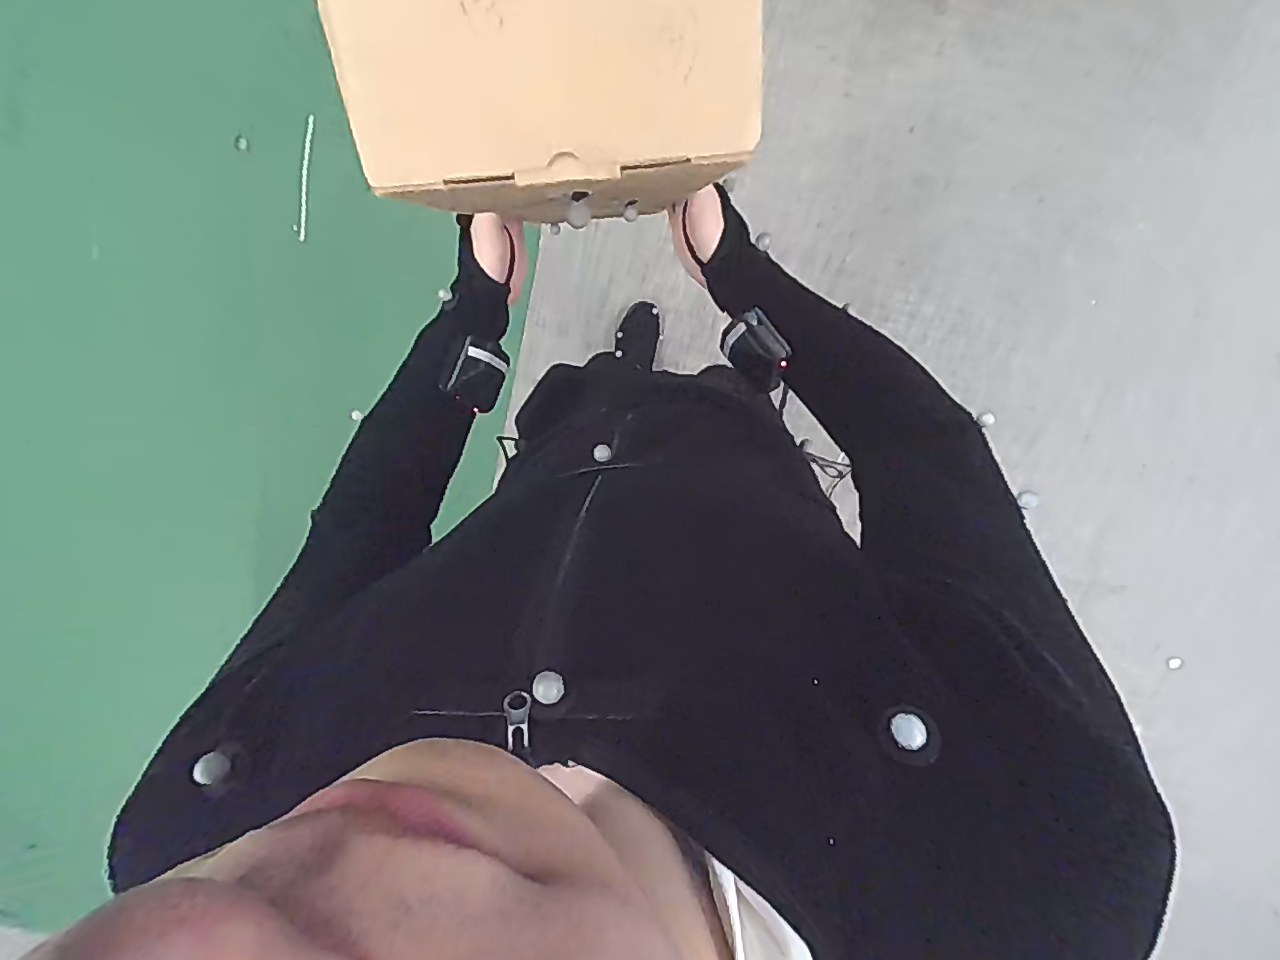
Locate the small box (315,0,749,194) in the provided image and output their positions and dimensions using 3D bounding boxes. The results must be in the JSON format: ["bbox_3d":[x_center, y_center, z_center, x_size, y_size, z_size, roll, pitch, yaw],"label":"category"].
[{"bbox_3d":[-0.045,-0.243,0.263,0.168,0.176,0.179,-6,115,-1],"label":"small box"}]
